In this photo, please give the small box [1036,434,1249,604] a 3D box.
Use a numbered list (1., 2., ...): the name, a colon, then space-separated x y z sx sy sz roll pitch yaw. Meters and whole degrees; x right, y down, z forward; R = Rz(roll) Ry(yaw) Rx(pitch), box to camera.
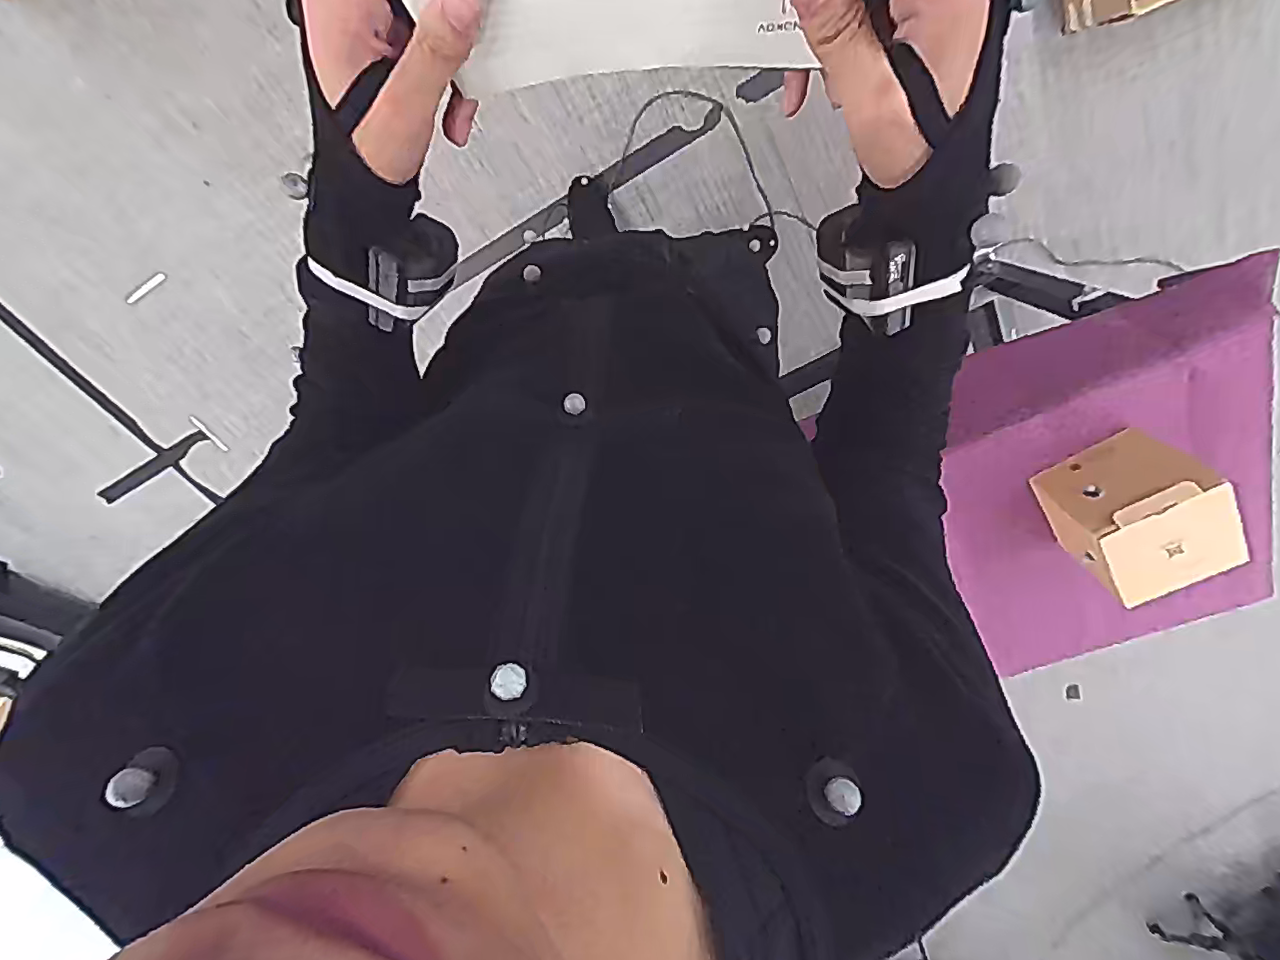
1. small box: 0.765 0.051 0.841 0.168 0.176 0.179 -32 115 20
